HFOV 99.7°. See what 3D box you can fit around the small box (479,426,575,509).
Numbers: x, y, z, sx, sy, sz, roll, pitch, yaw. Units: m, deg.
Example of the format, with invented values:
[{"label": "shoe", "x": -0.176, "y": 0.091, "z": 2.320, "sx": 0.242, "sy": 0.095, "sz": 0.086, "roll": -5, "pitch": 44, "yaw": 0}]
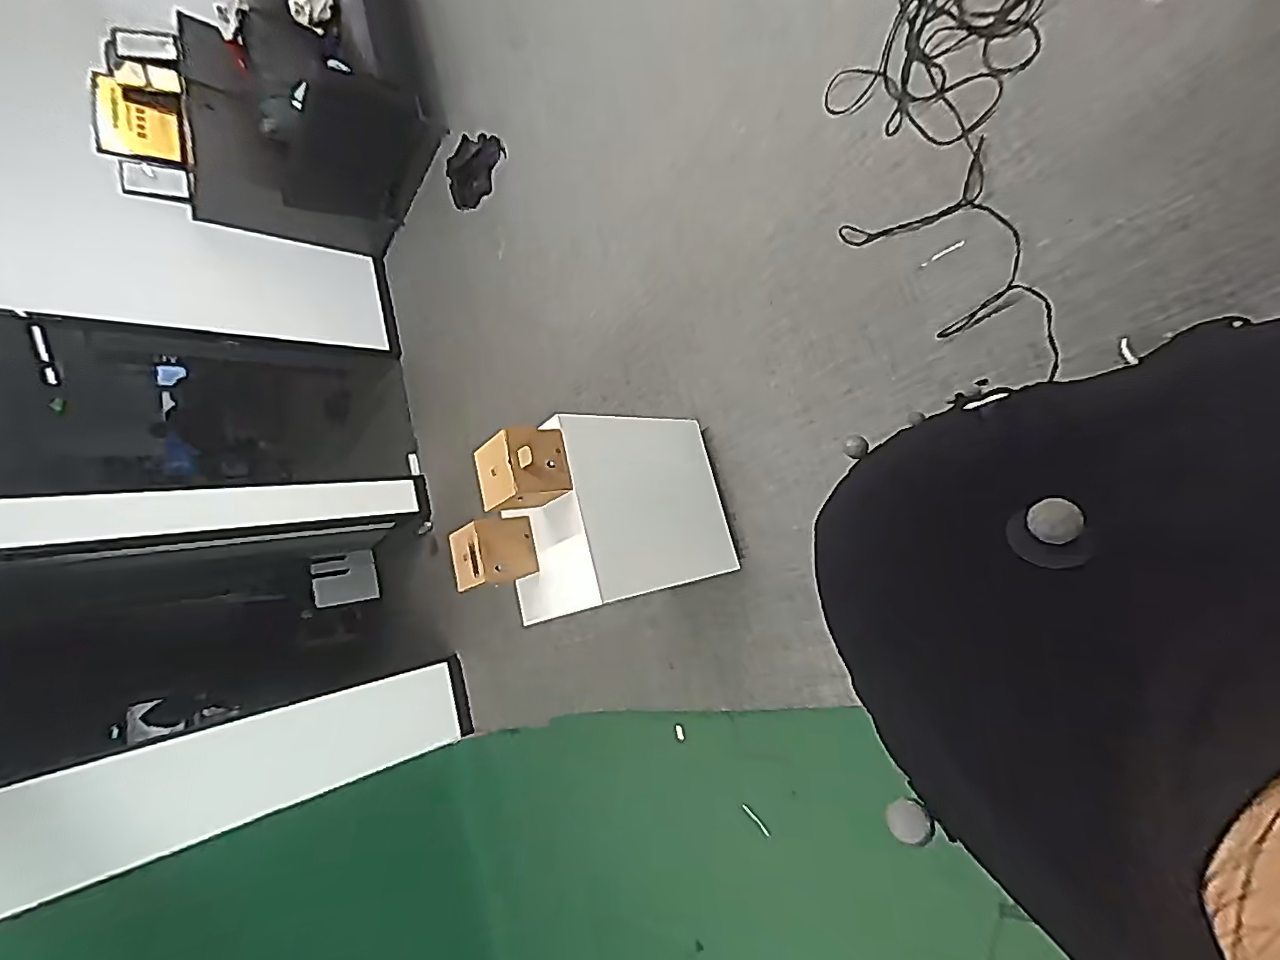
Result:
[{"label": "small box", "x": -0.291, "y": -0.029, "z": 1.393, "sx": 0.179, "sy": 0.176, "sz": 0.168, "roll": -26, "pitch": 73, "yaw": 46}]
